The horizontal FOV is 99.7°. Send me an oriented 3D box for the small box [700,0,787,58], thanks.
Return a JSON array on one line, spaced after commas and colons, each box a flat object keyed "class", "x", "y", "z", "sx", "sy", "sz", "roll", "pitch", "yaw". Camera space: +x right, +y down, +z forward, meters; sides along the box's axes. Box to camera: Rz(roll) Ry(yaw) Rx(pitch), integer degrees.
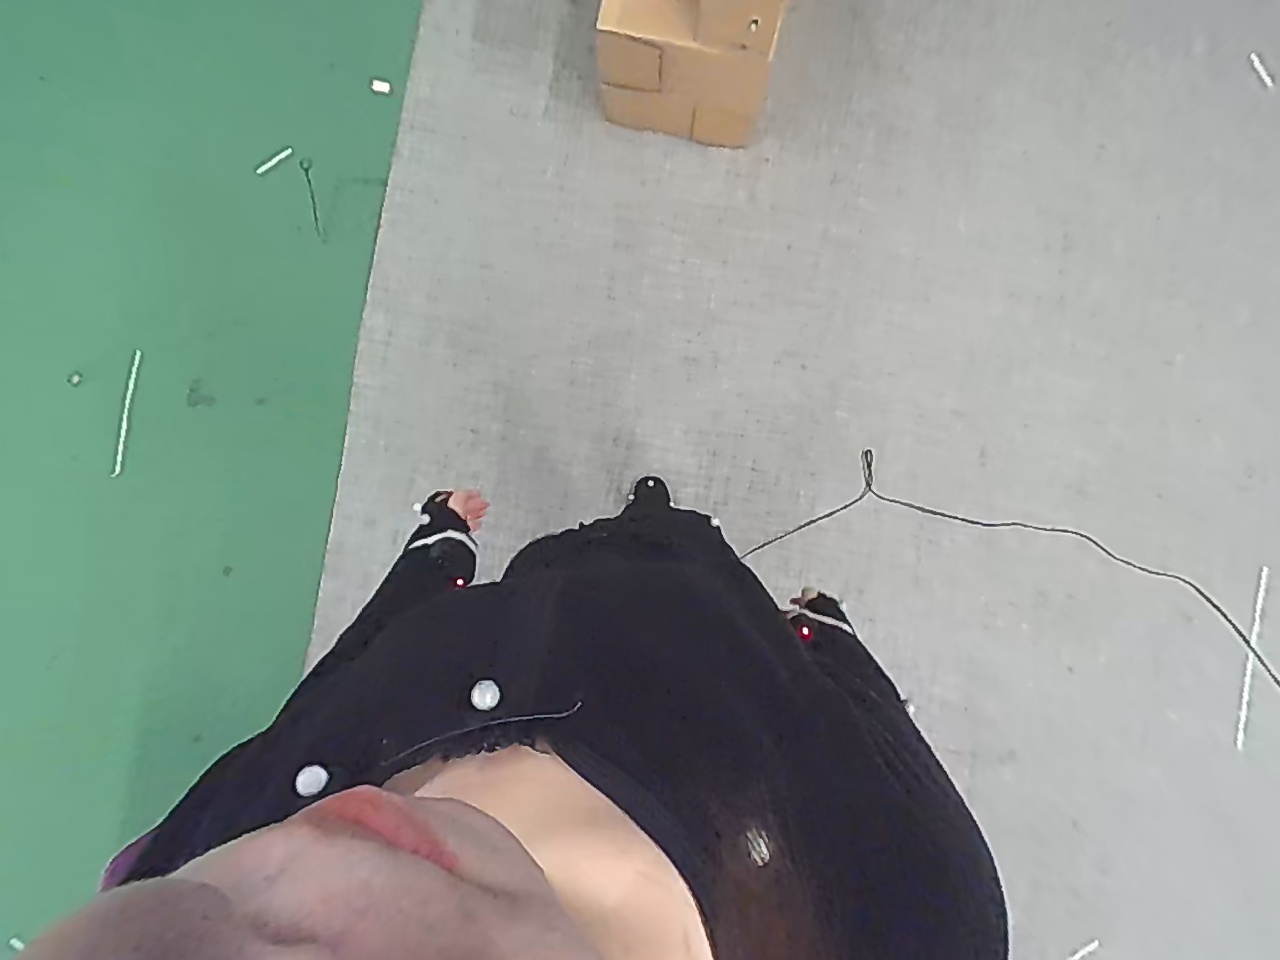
[{"class": "small box", "x": 0.226, "y": -1.021, "z": 1.104, "sx": 0.168, "sy": 0.176, "sz": 0.179, "roll": 17, "pitch": 88, "yaw": 1}]
